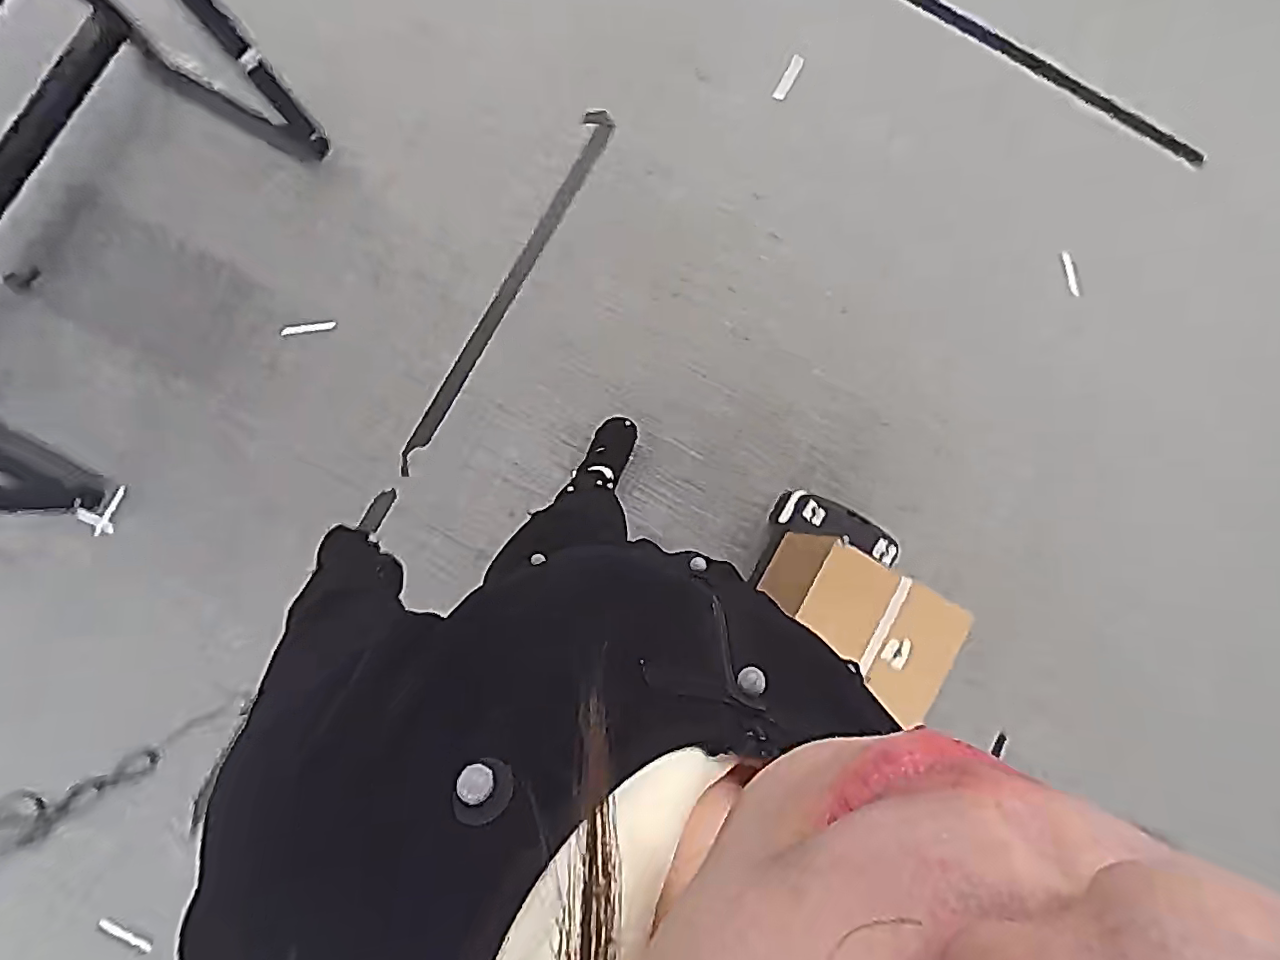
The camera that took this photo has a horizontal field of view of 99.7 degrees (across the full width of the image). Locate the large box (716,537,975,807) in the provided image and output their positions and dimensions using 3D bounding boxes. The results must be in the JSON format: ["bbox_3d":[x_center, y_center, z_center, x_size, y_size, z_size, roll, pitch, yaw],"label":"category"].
[{"bbox_3d":[0.407,0.372,1.159,0.320,0.320,0.408,30,85,-1],"label":"large box"}]
